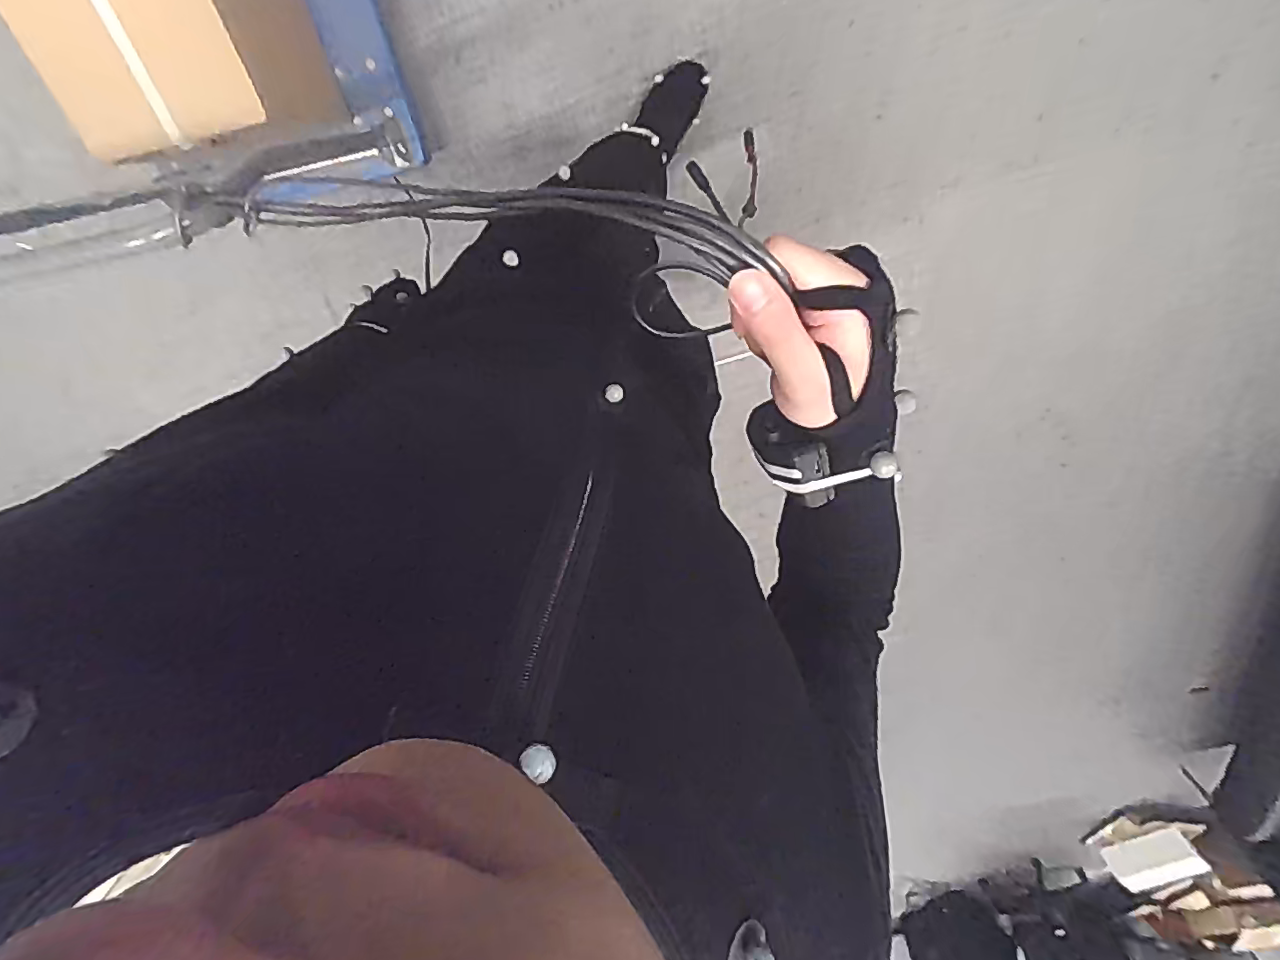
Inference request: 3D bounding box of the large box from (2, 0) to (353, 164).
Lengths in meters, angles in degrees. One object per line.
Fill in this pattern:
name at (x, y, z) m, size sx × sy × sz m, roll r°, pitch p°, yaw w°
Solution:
large box at (-0.769, -0.787, 0.895) m, size 0.320 × 0.320 × 0.408 m, roll -10°, pitch 121°, yaw 6°
